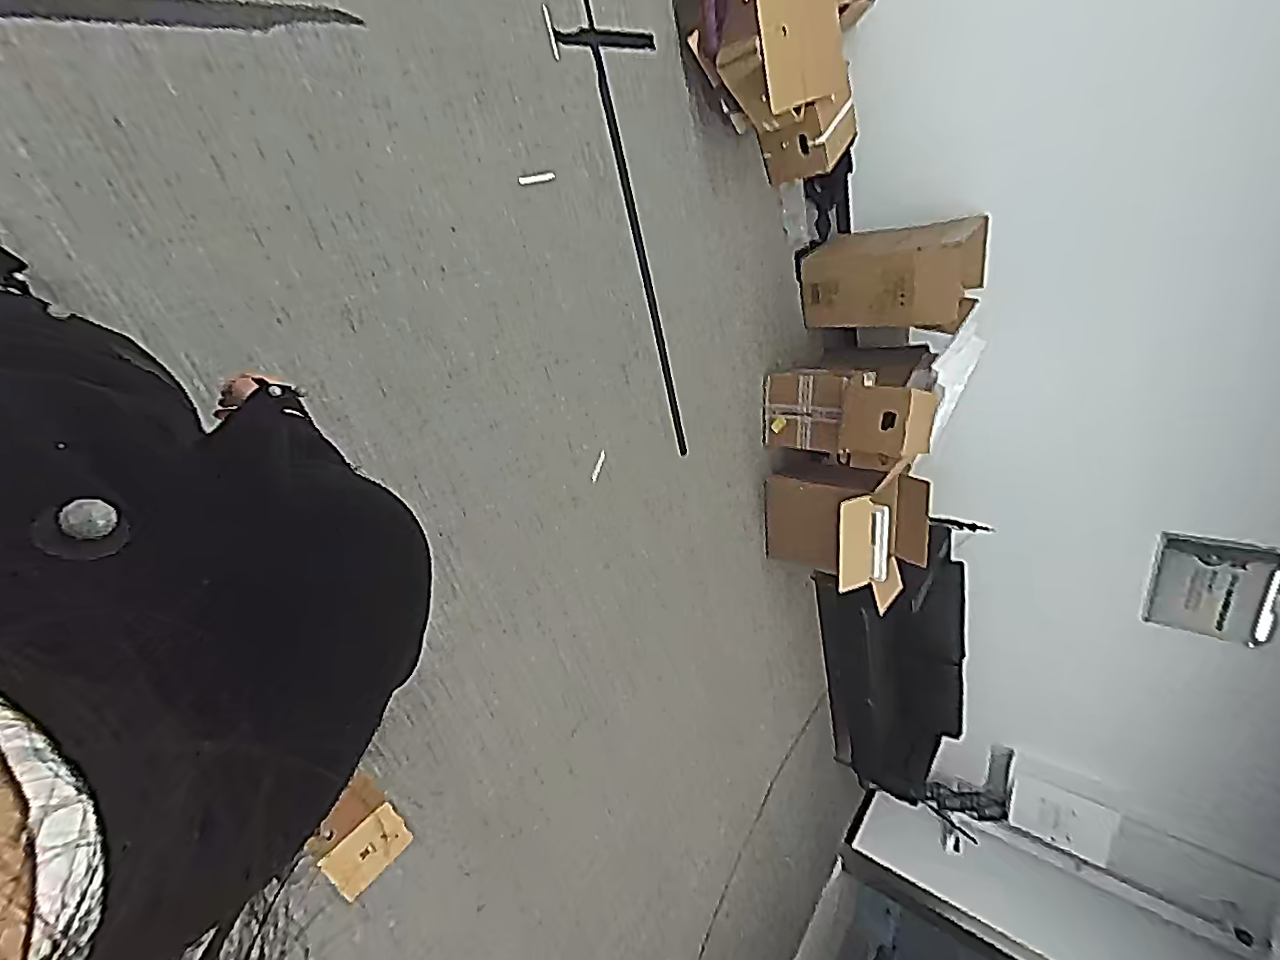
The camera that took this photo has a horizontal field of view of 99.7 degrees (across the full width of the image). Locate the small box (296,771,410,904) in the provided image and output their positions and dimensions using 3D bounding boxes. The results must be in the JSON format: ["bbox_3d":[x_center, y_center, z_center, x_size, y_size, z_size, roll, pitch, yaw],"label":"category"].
[{"bbox_3d":[-0.709,0.867,1.327,0.179,0.176,0.168,-37,125,-39],"label":"small box"}]
